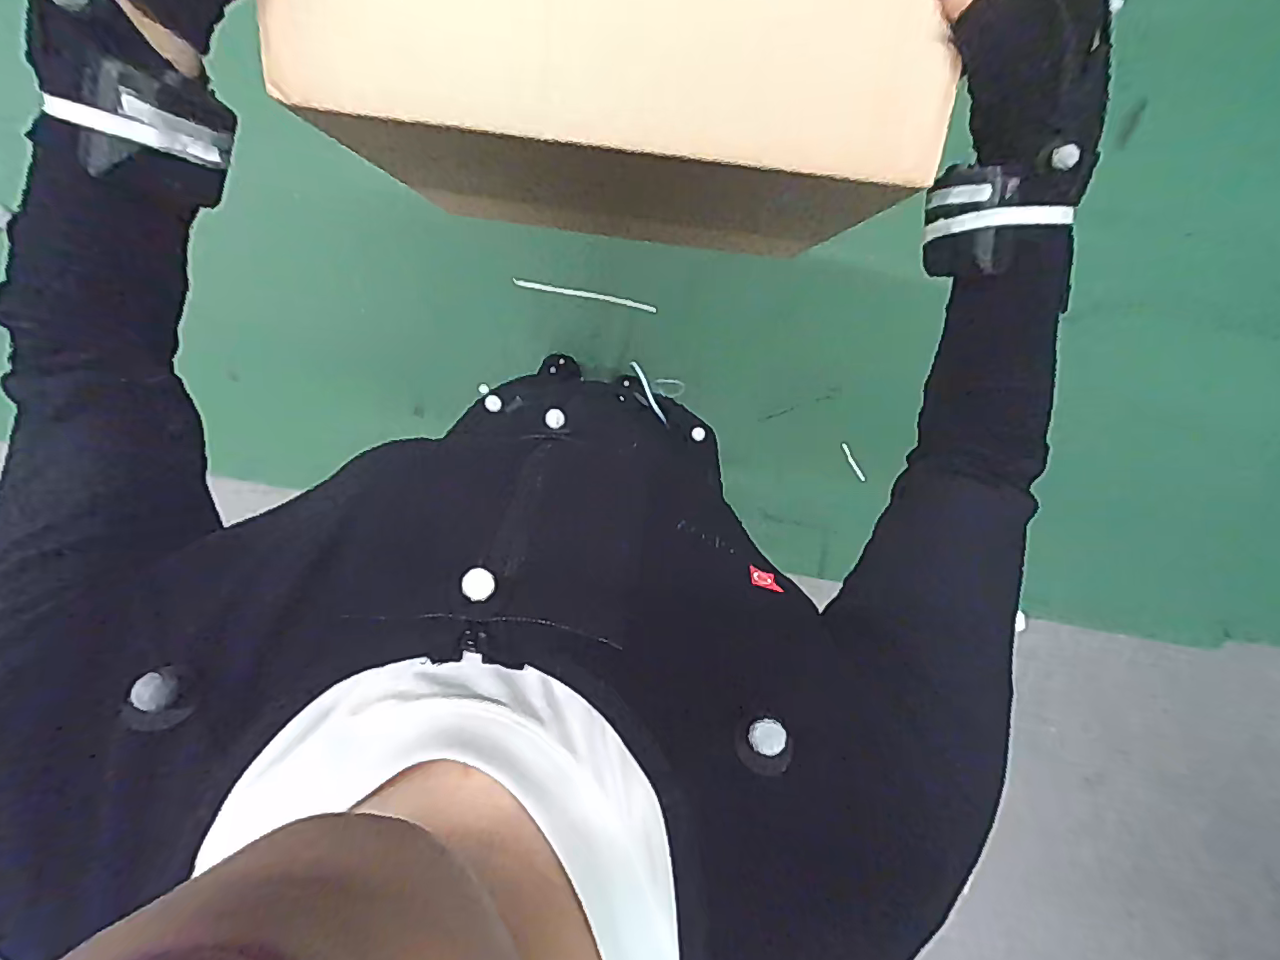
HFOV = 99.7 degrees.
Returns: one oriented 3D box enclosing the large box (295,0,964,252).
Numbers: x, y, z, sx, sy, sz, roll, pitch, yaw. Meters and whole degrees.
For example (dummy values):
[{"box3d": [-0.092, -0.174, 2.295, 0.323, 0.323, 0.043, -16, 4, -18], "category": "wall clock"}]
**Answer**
[{"box3d": [0.001, -0.395, 0.447, 0.408, 0.320, 0.320, 6, 105, -2], "category": "large box"}]
